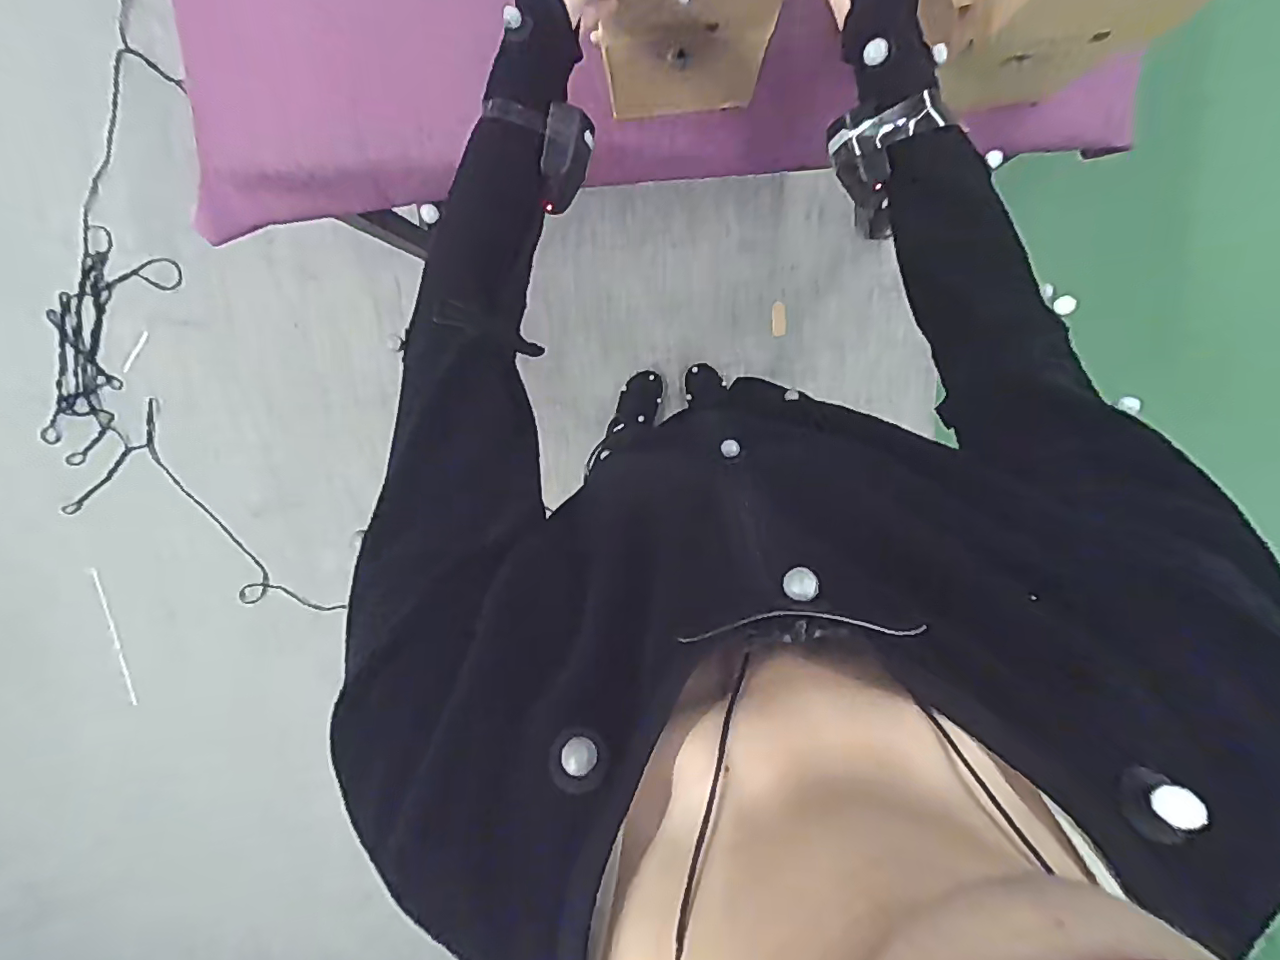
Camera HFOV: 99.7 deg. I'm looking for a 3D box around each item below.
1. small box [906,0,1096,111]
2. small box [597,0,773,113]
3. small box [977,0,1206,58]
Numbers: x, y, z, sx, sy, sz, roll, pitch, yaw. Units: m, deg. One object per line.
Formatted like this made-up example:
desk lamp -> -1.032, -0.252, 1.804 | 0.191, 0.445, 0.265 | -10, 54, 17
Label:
small box -> 0.405, -0.529, 0.582 | 0.179, 0.176, 0.168 | -5, 101, 4
small box -> 0.046, -0.539, 0.603 | 0.179, 0.176, 0.168 | -2, 100, 3
small box -> 0.395, -0.482, 0.424 | 0.168, 0.176, 0.179 | -2, 100, 5
